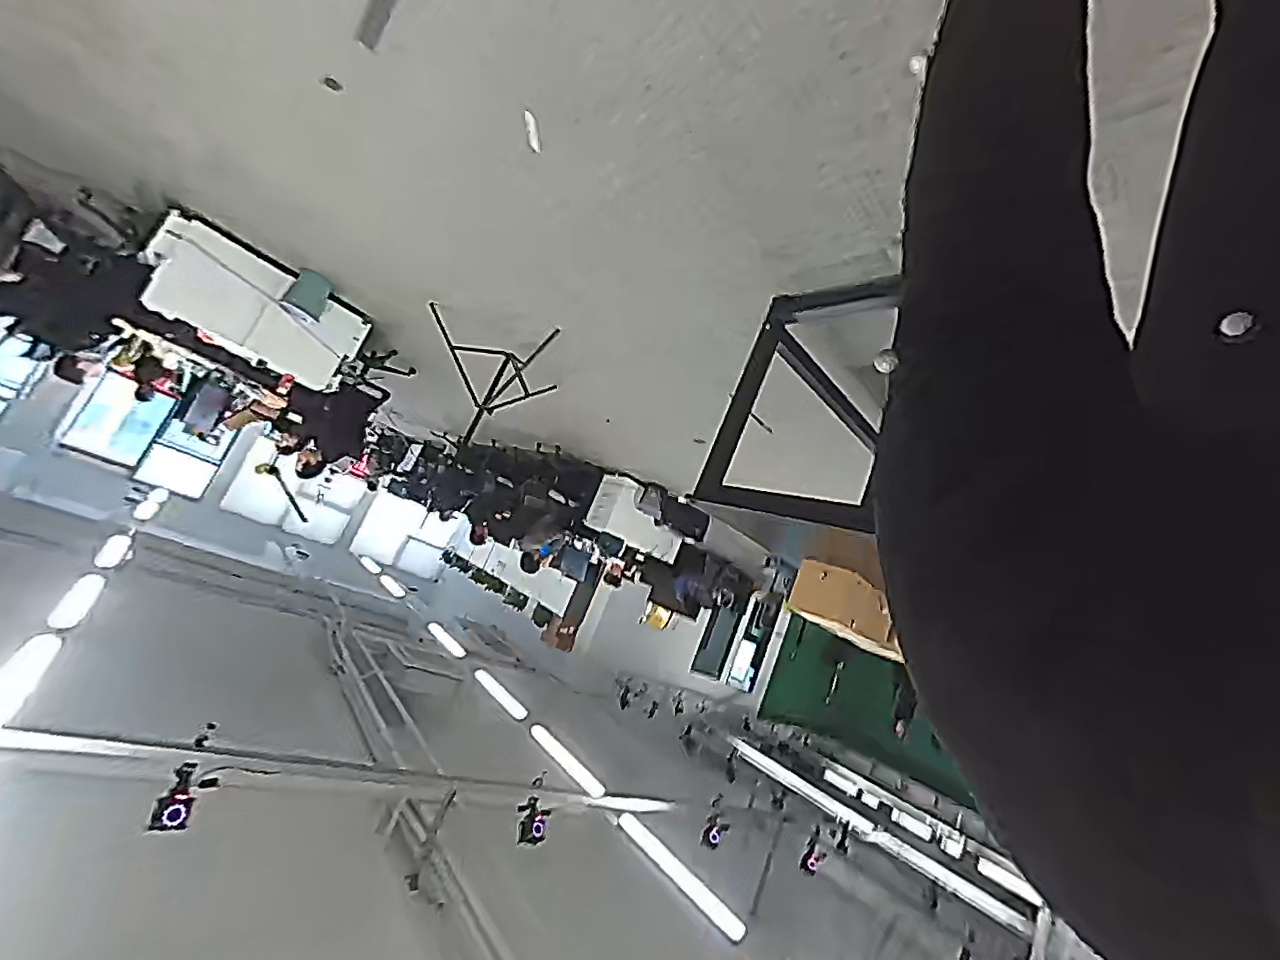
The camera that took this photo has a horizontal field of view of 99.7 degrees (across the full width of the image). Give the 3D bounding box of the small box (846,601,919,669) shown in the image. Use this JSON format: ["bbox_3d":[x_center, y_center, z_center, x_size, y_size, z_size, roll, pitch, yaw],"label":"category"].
[{"bbox_3d":[0.873,0.550,1.933,0.179,0.176,0.168,11,162,49],"label":"small box"}]
